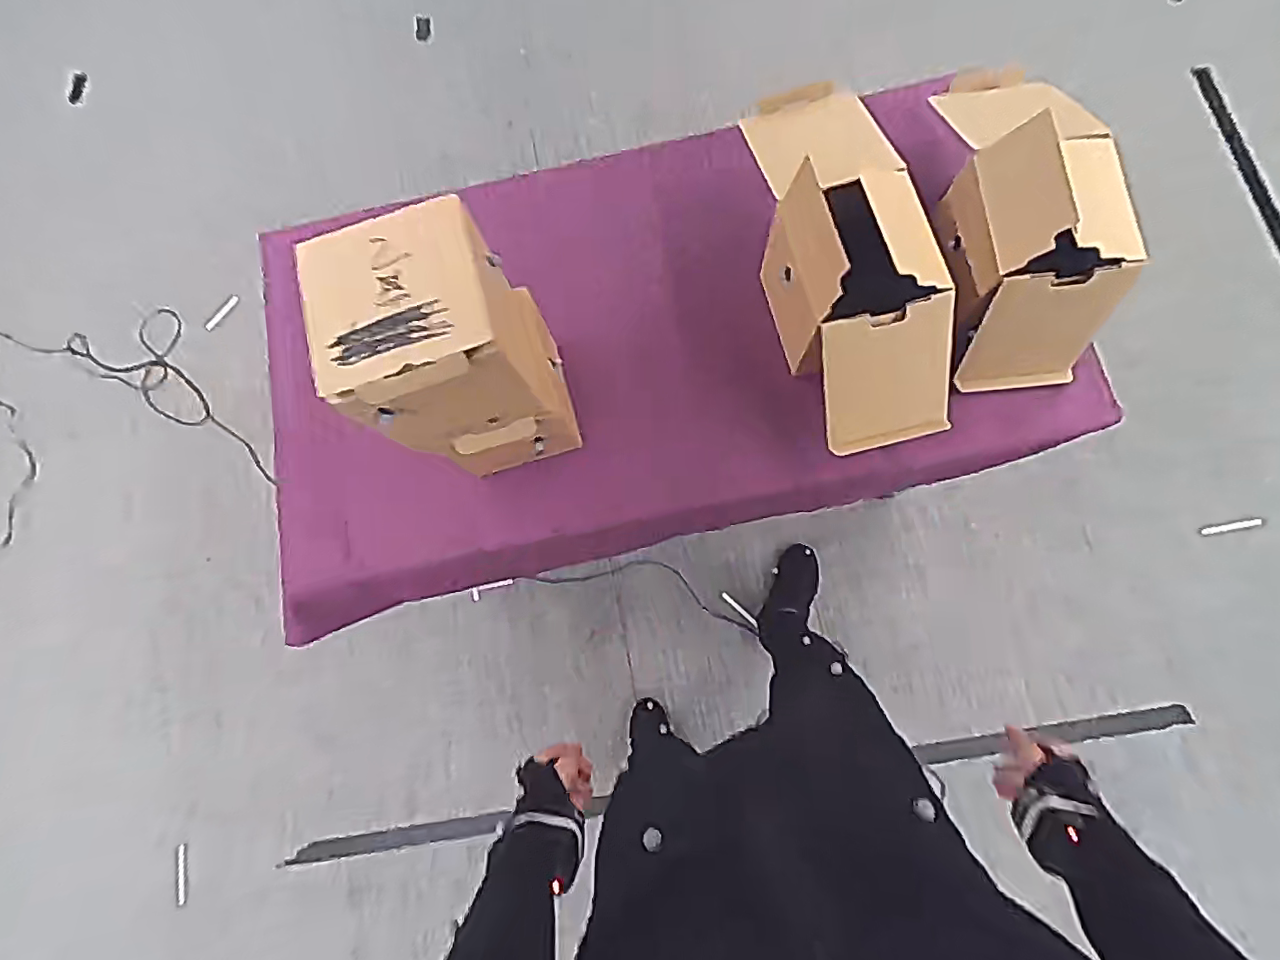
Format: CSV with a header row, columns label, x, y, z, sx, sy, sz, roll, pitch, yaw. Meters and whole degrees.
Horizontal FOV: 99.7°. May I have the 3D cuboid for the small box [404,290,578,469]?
label,x,y,z,sx,sy,sz,roll,pitch,yaw
small box,-0.193,-0.123,0.743,0.168,0.176,0.179,-16,78,1

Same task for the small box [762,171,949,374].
label,x,y,z,sx,sy,sz,roll,pitch,yaw
small box,0.273,-0.268,0.733,0.168,0.176,0.179,-14,79,2
